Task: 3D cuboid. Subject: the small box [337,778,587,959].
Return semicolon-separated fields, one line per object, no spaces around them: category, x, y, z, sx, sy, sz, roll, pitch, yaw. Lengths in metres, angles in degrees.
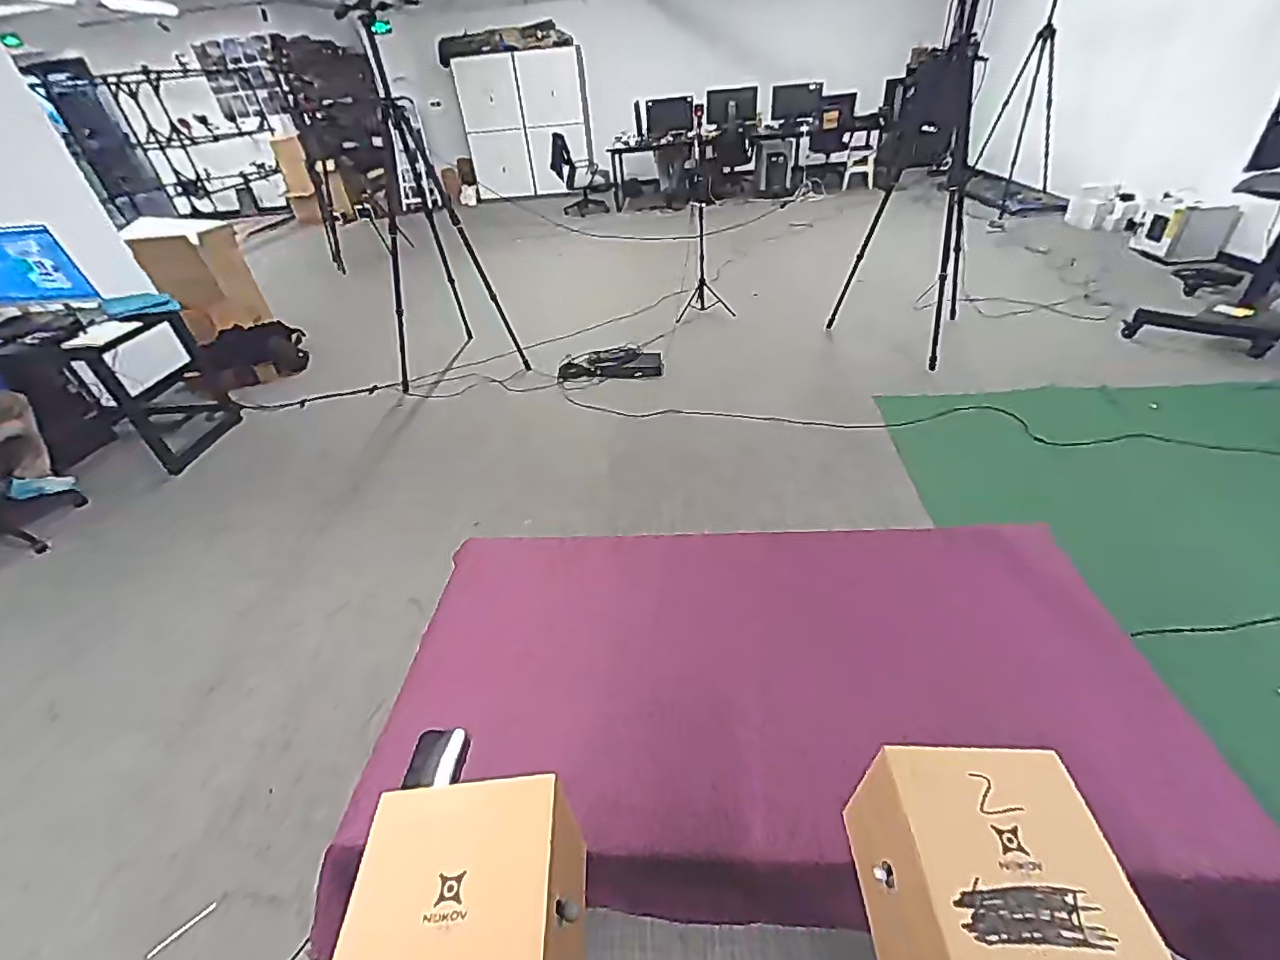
small box;-0.142;0.398;0.481;0.168;0.176;0.179;-6;38;1
